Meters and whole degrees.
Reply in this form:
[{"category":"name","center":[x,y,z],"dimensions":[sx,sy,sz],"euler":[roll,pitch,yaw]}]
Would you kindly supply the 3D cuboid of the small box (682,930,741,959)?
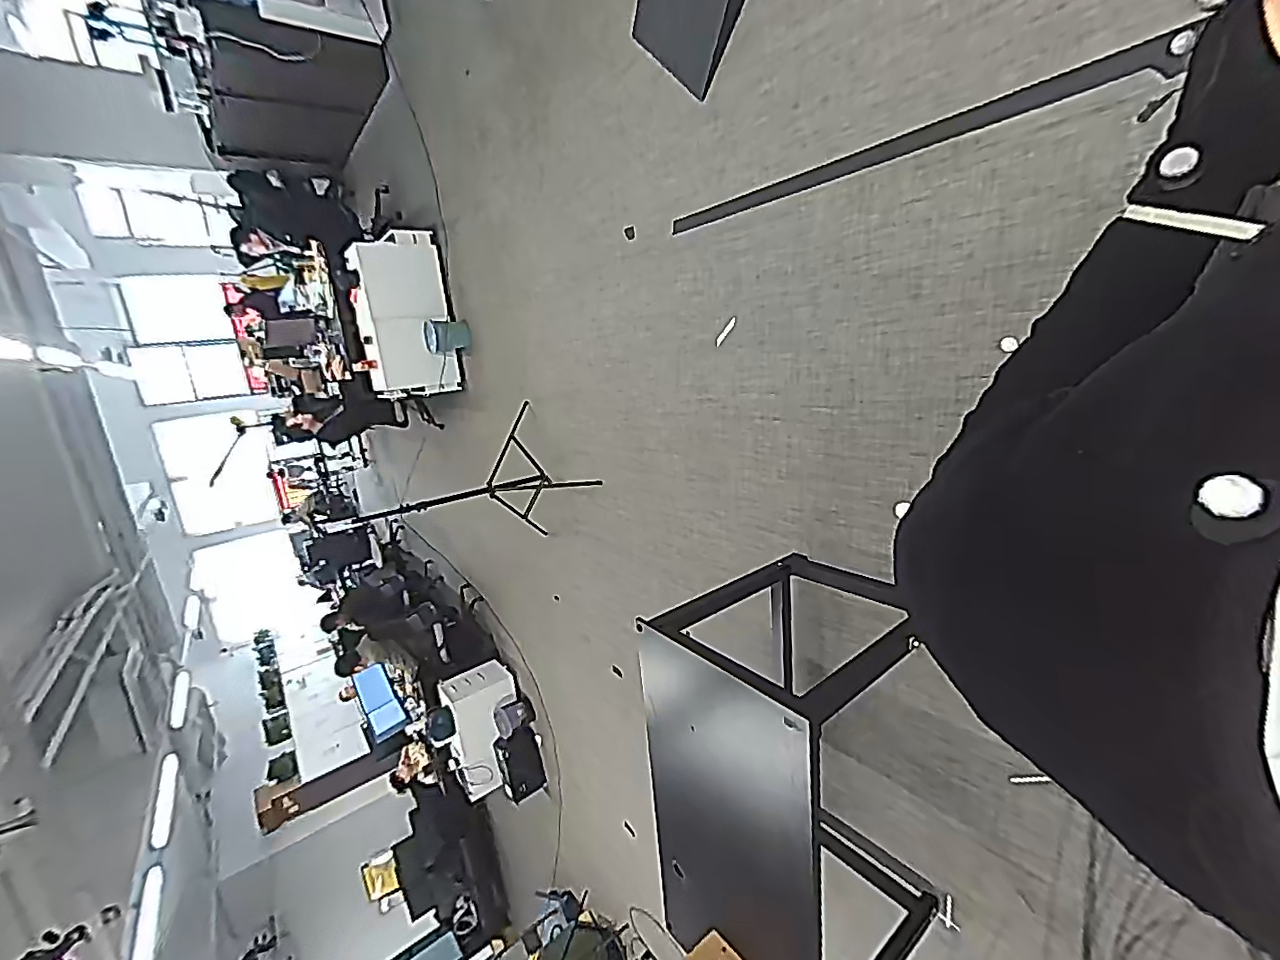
[{"category":"small box","center":[0.212,1.446,1.531],"dimensions":[0.168,0.176,0.179],"euler":[10,110,52]}]
